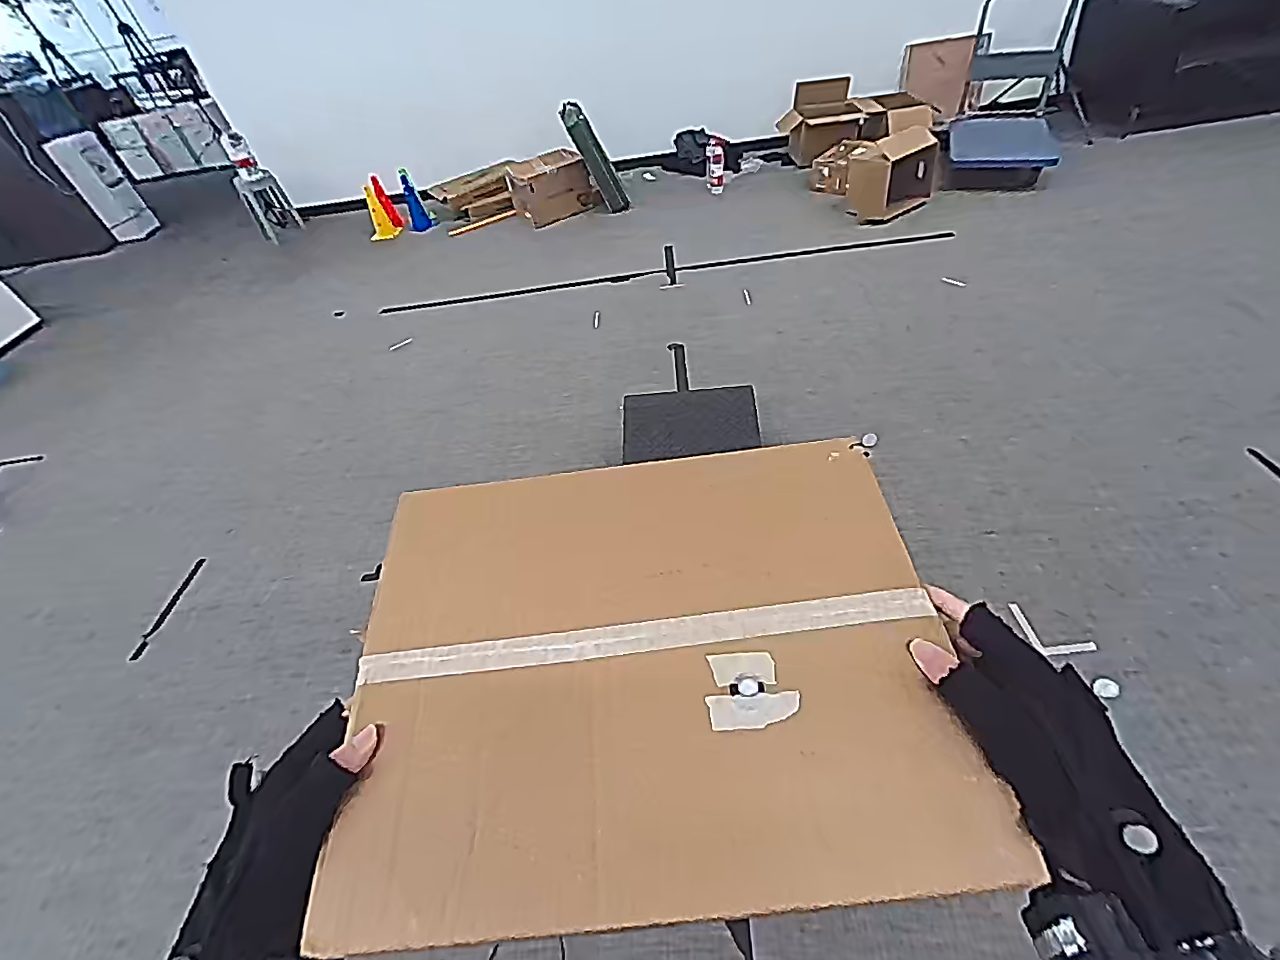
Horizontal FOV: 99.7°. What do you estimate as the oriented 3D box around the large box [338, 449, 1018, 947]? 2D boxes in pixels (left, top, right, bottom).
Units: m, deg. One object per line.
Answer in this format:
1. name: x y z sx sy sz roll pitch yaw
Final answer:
1. large box: 0.019 0.208 0.515 0.408 0.320 0.320 -7 53 1
